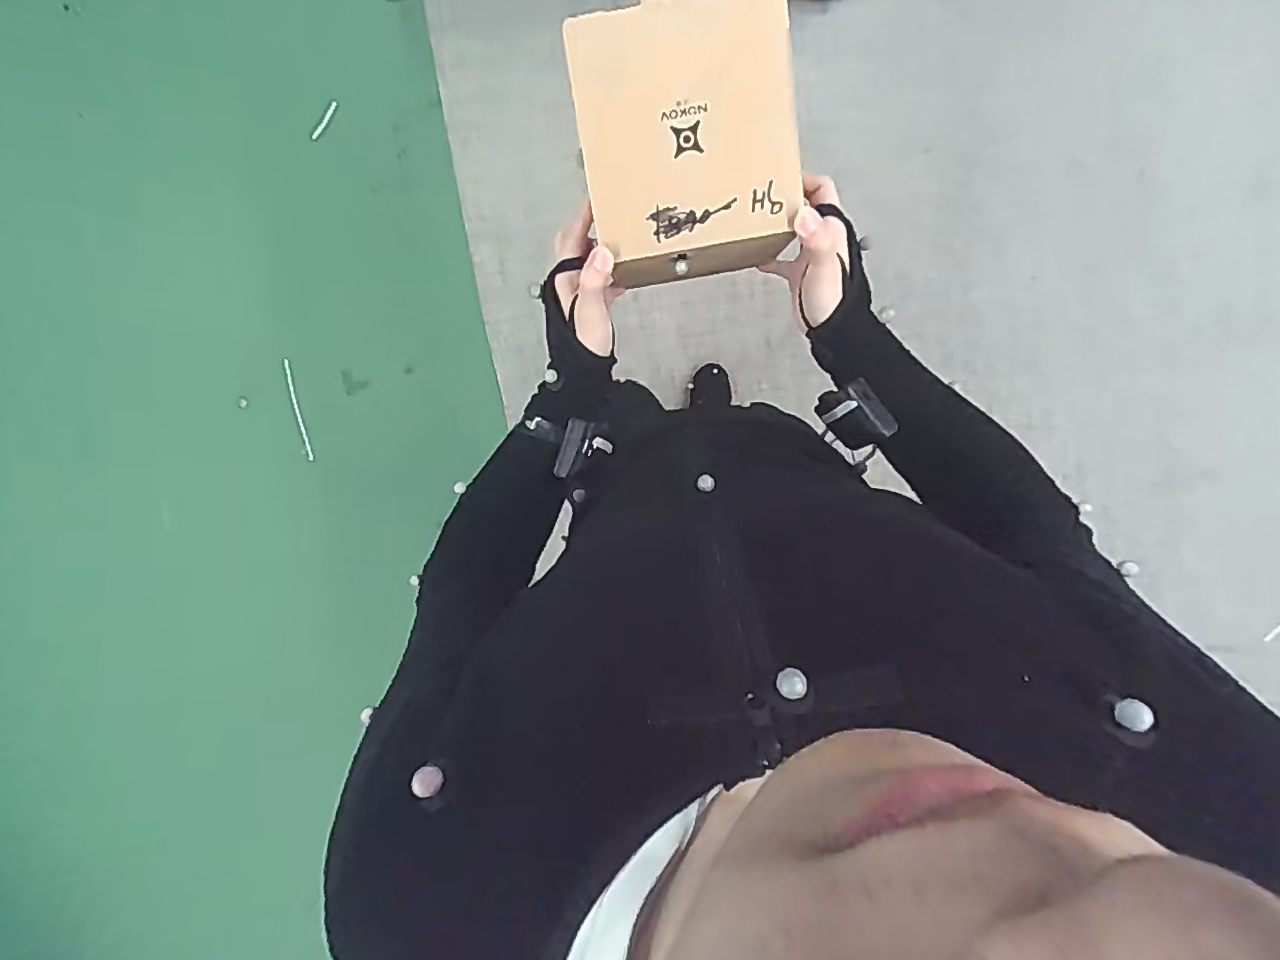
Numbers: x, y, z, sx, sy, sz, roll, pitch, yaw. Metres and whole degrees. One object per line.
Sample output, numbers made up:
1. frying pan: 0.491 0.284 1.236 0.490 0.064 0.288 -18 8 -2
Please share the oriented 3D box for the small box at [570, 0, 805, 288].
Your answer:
1. small box: 0.042 -0.287 0.489 0.168 0.176 0.179 -7 101 5
